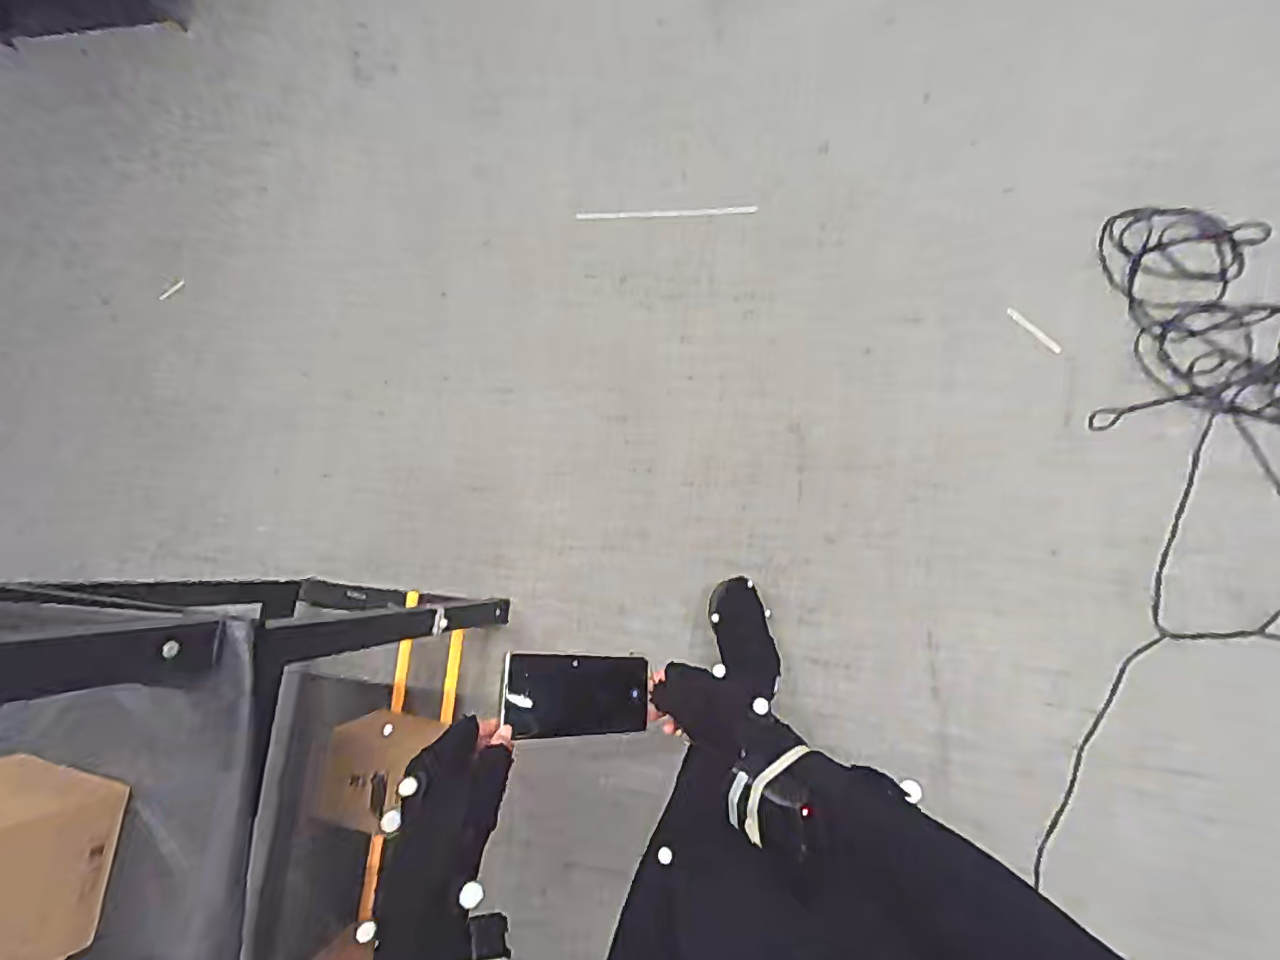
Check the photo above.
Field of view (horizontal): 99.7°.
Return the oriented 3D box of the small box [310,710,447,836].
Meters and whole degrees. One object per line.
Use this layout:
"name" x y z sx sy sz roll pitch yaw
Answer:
"small box" -0.527 0.591 1.115 0.179 0.176 0.168 7 81 12
